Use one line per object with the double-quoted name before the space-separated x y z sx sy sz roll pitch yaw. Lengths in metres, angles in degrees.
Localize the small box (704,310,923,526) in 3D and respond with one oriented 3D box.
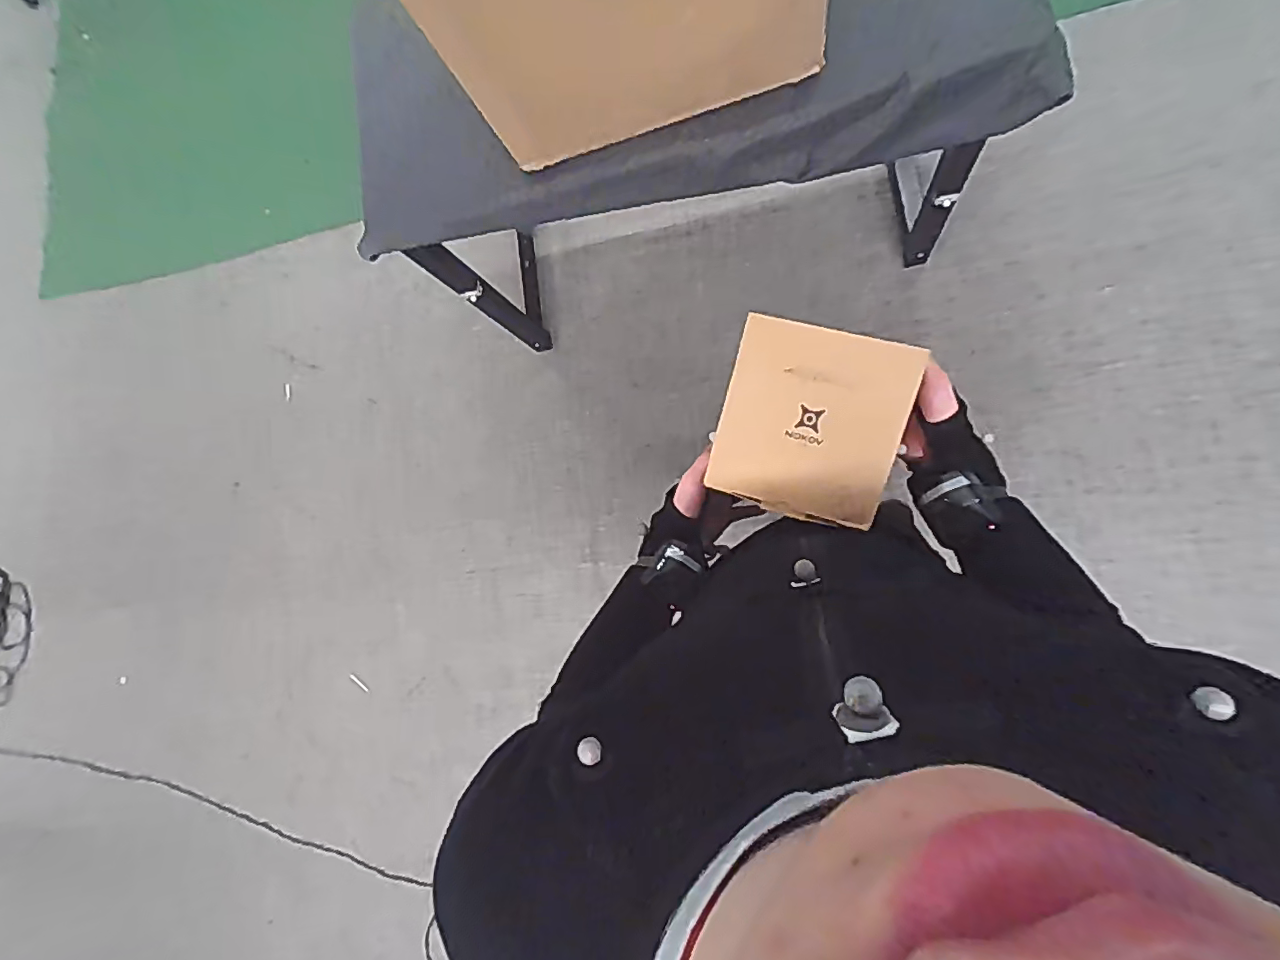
"small box" 0.179 -0.071 0.590 0.168 0.176 0.179 15 102 11
